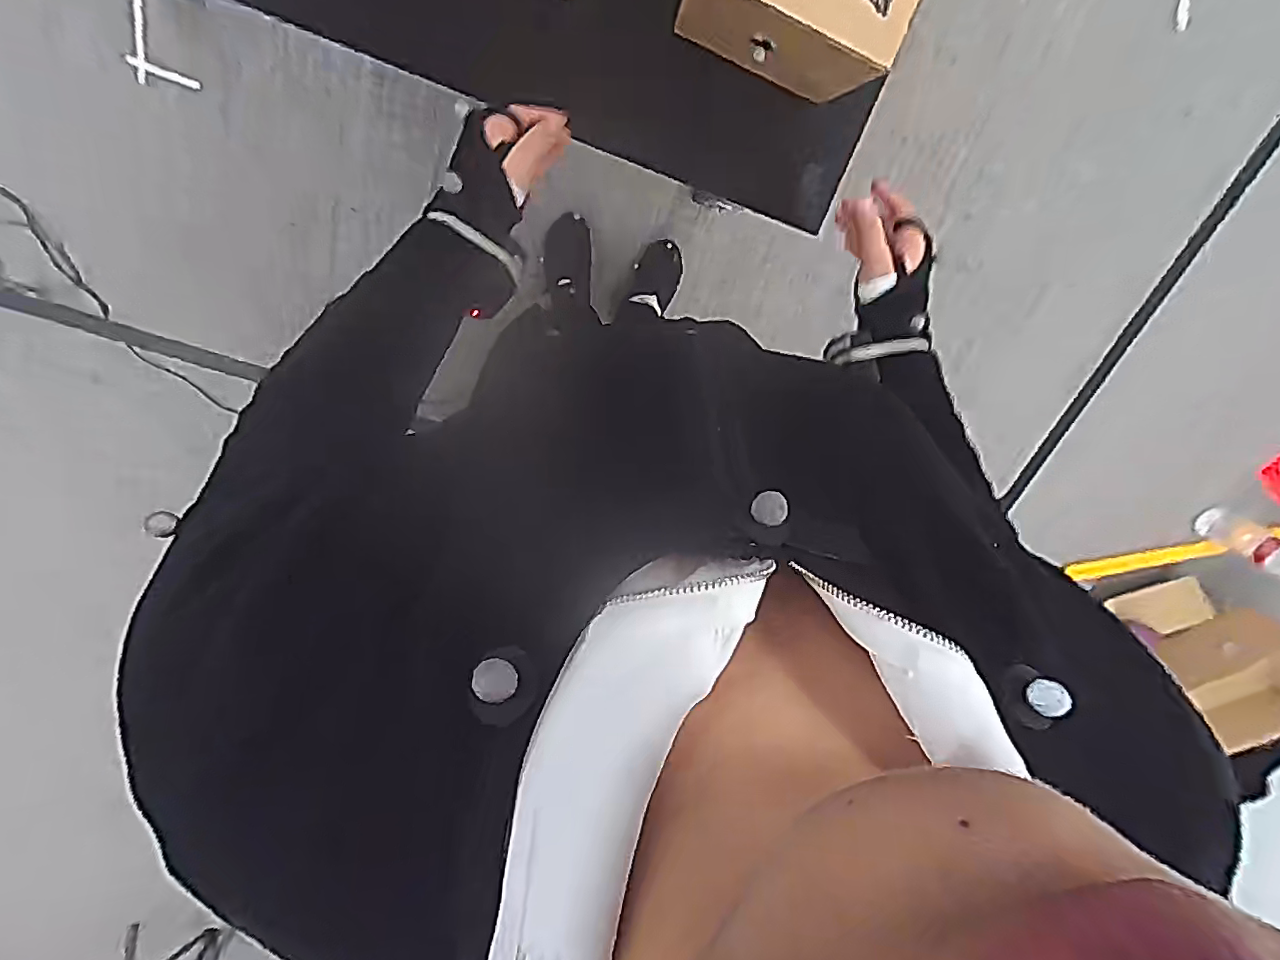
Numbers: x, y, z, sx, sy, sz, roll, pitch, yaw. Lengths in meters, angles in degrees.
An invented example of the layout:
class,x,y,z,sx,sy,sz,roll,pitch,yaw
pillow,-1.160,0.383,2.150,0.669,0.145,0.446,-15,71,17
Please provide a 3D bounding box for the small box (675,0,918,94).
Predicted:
class,x,y,z,sx,sy,sz,roll,pitch,yaw
small box,0.144,-0.463,0.463,0.179,0.176,0.168,18,114,-11
